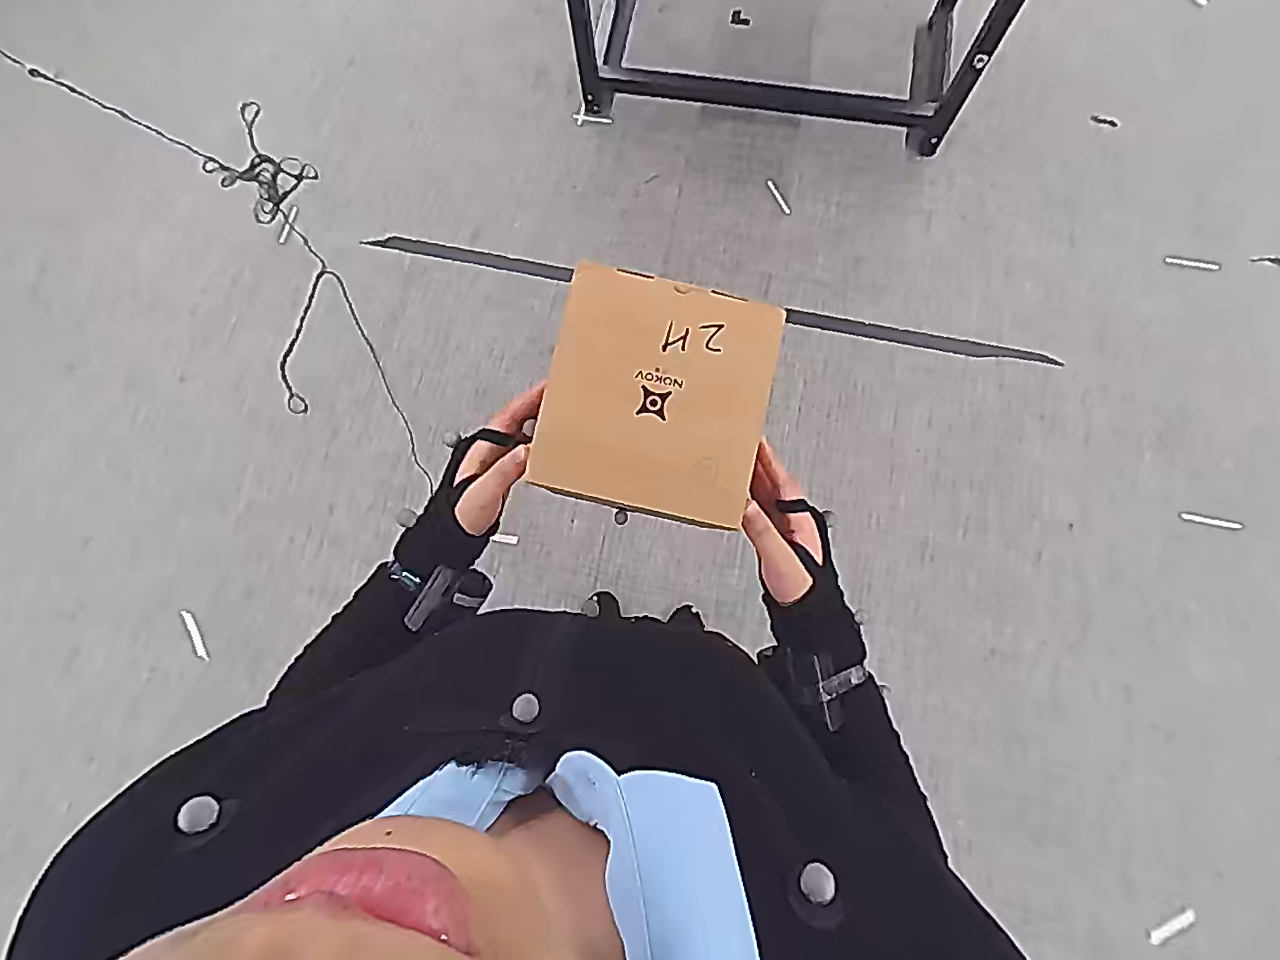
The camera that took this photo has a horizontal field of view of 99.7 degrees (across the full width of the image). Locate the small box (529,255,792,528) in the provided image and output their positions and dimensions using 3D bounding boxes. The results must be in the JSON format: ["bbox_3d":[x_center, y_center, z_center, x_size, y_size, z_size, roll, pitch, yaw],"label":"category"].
[{"bbox_3d":[0.014,-0.060,0.475,0.168,0.176,0.179,13,84,-2],"label":"small box"}]
